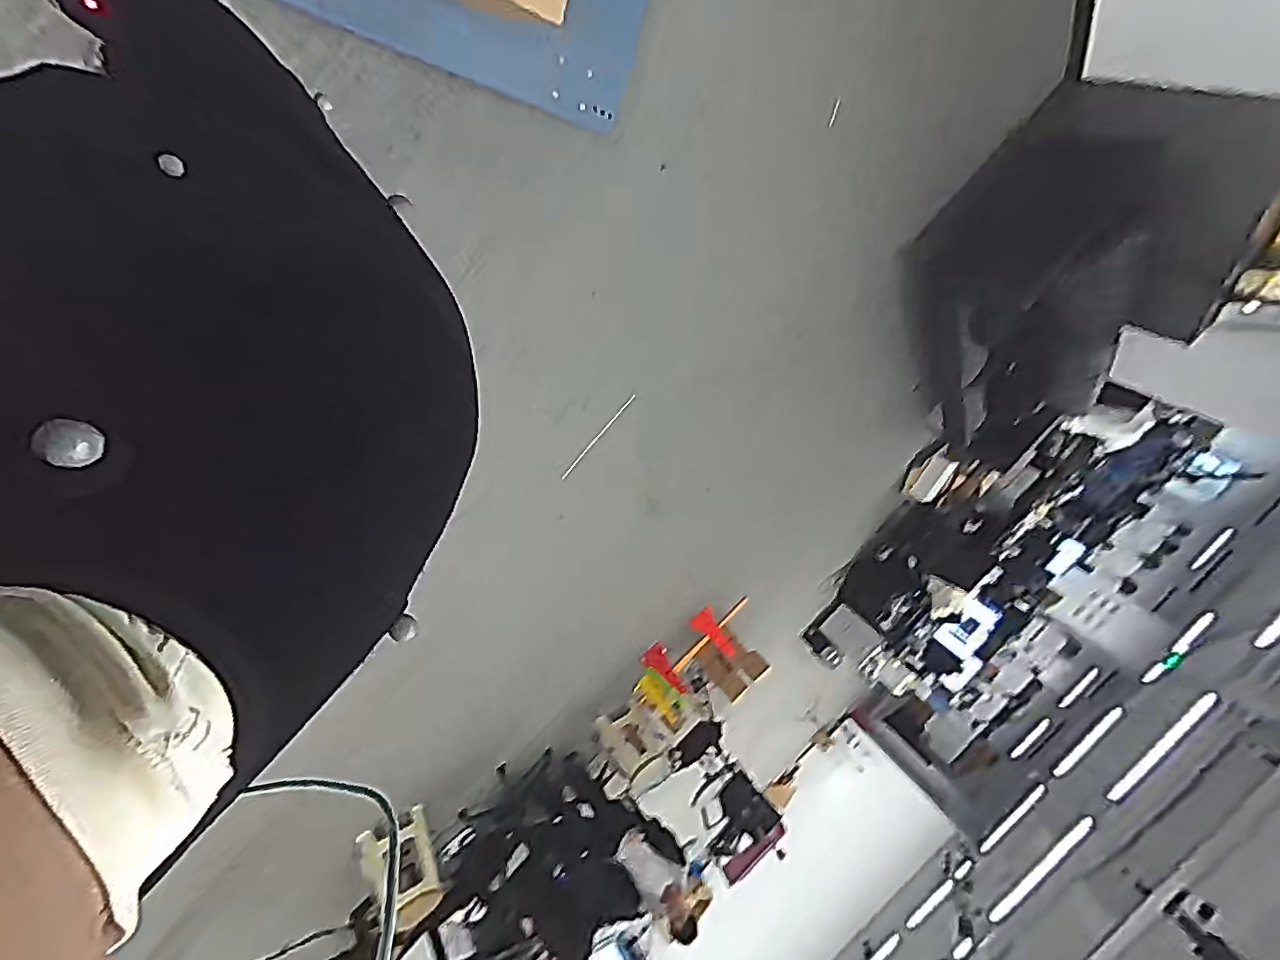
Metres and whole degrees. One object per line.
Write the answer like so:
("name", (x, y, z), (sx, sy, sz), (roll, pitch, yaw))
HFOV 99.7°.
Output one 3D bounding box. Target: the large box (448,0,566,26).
("large box", (-0.335, -1.000, 0.860), (0.408, 0.320, 0.320), (-7, 129, -41))
